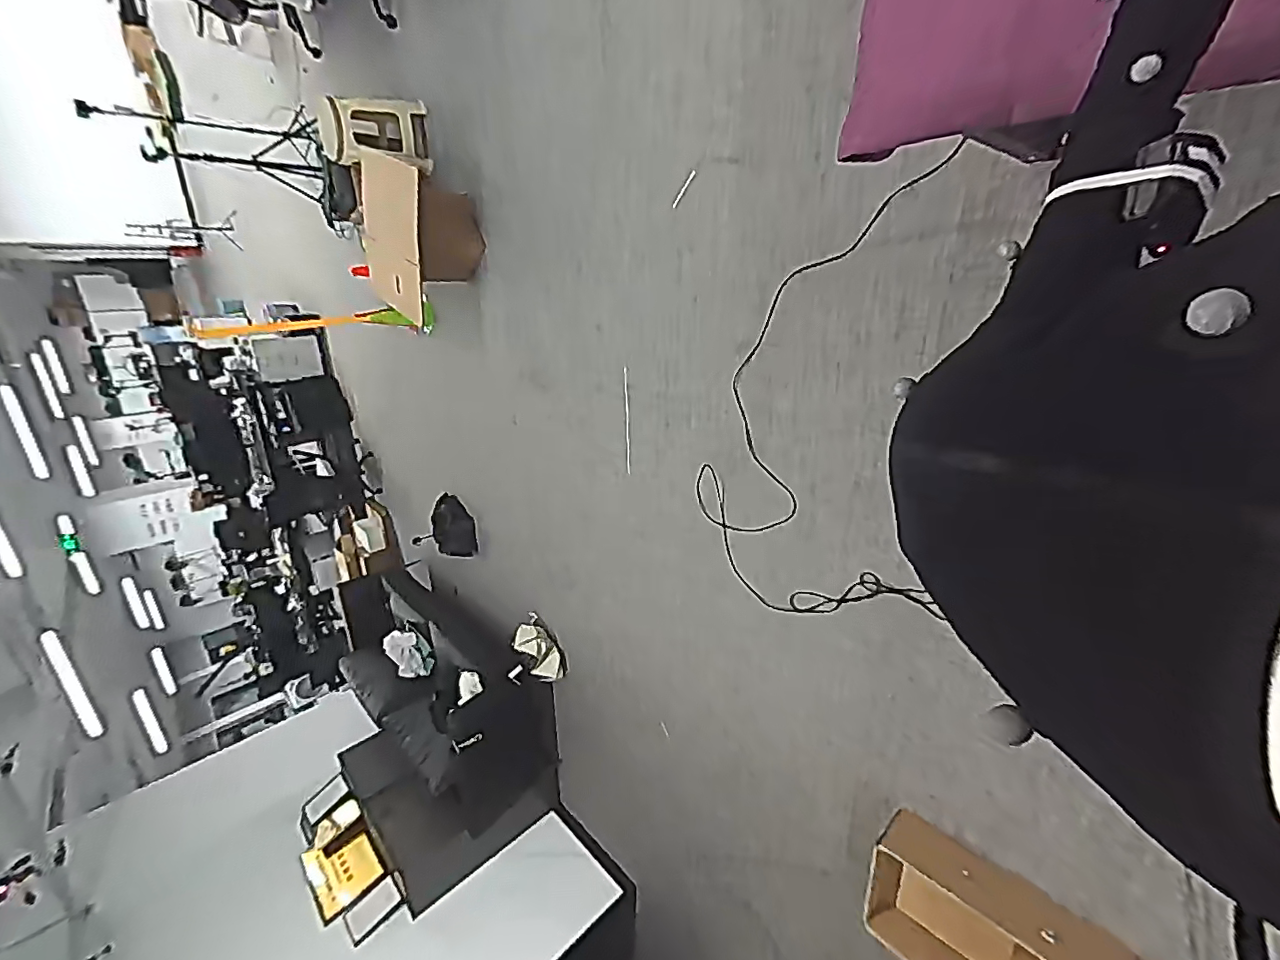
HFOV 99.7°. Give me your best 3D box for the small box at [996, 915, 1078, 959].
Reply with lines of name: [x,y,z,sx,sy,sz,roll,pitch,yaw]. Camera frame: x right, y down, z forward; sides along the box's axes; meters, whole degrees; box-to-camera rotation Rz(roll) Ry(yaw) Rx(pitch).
small box: [1.090,1.382,1.499,0.168,0.176,0.179,20,121,43]
